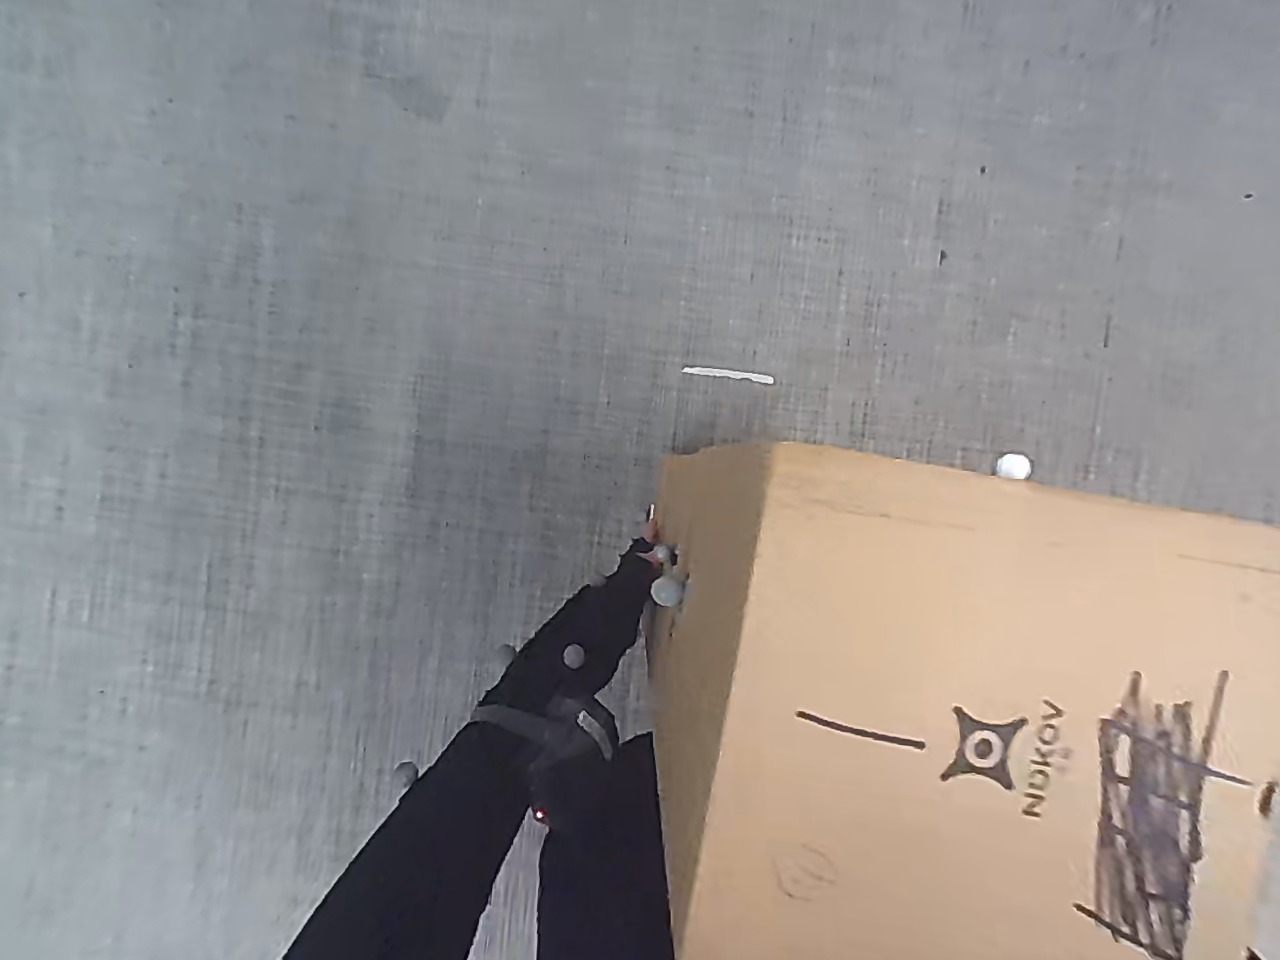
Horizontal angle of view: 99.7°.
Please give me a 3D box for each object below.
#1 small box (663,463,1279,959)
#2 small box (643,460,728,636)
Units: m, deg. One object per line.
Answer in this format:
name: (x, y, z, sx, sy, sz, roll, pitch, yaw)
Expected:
small box: (0.112, 0.083, 0.251, 0.179, 0.176, 0.168, 7, 92, -2)
small box: (0.100, 0.069, 0.580, 0.179, 0.176, 0.168, 7, 91, 0)
